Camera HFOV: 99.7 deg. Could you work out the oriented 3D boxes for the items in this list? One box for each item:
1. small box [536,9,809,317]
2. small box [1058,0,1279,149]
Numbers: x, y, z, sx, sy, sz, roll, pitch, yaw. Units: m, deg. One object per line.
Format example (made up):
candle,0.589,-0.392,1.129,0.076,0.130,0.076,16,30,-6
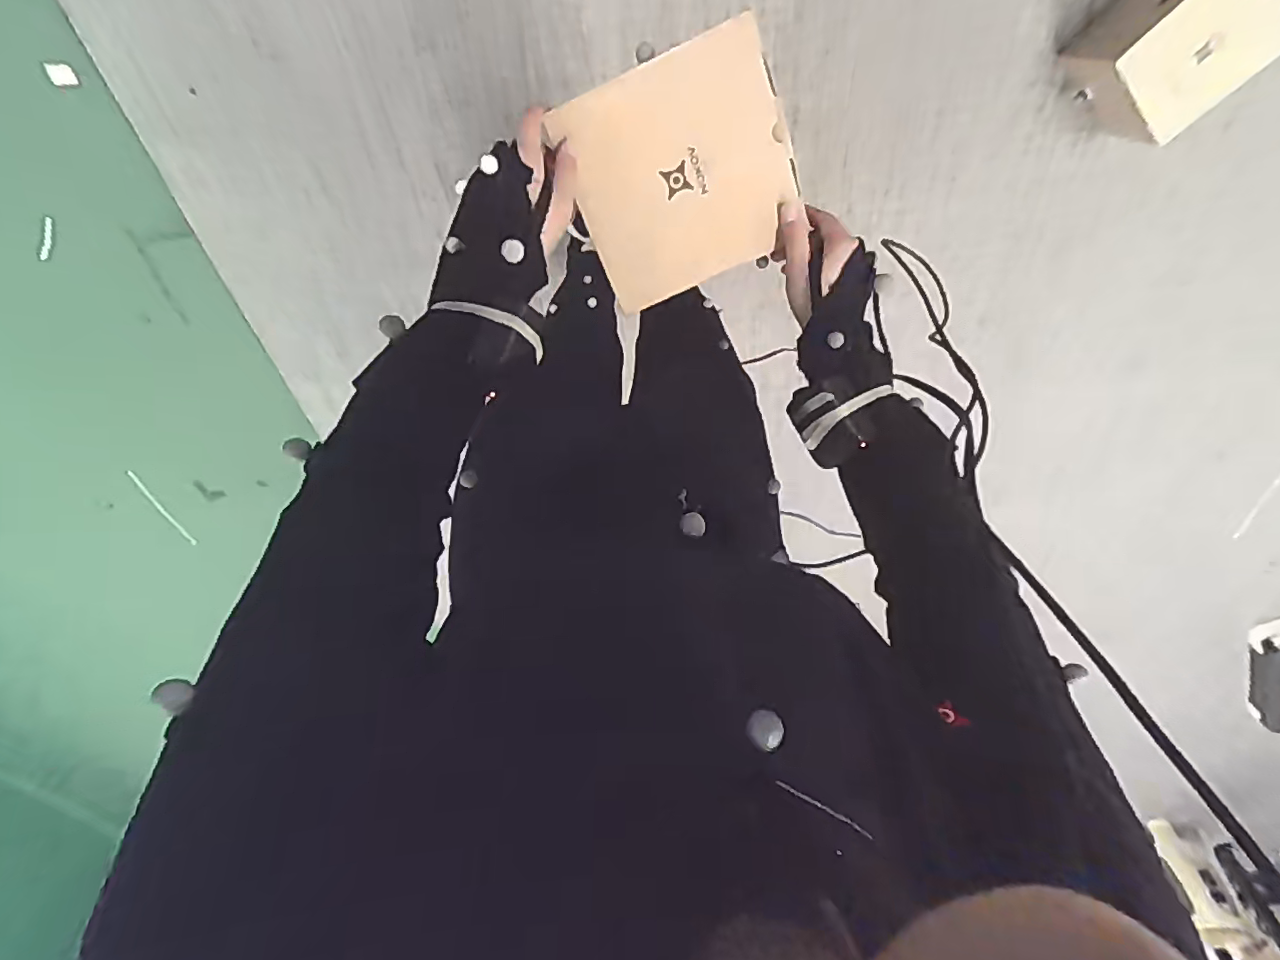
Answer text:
small box,0.029,-0.270,0.499,0.179,0.176,0.168,-22,114,8
small box,0.797,-0.649,0.819,0.168,0.176,0.179,34,124,-21
